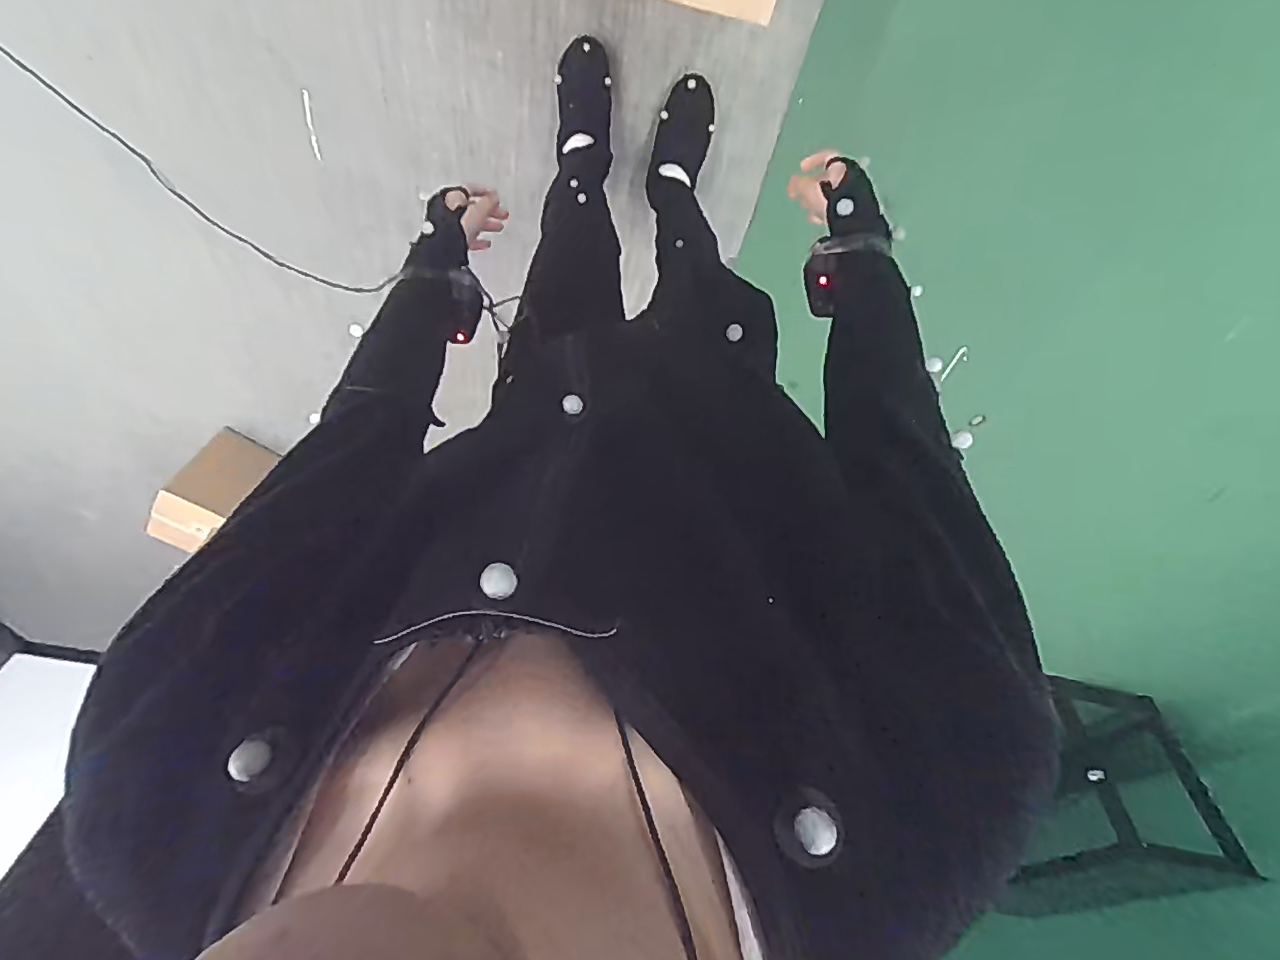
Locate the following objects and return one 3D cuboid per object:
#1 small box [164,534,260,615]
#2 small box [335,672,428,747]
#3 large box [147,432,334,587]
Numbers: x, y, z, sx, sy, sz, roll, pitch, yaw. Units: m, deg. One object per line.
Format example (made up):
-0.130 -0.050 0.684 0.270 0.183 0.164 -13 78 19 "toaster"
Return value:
-1.382 0.307 1.754 0.179 0.176 0.168 -32 122 32 "small box"
-0.813 0.729 1.719 0.179 0.176 0.168 -11 132 15 "small box"
-1.386 0.110 1.903 0.408 0.320 0.320 36 128 -23 "large box"
